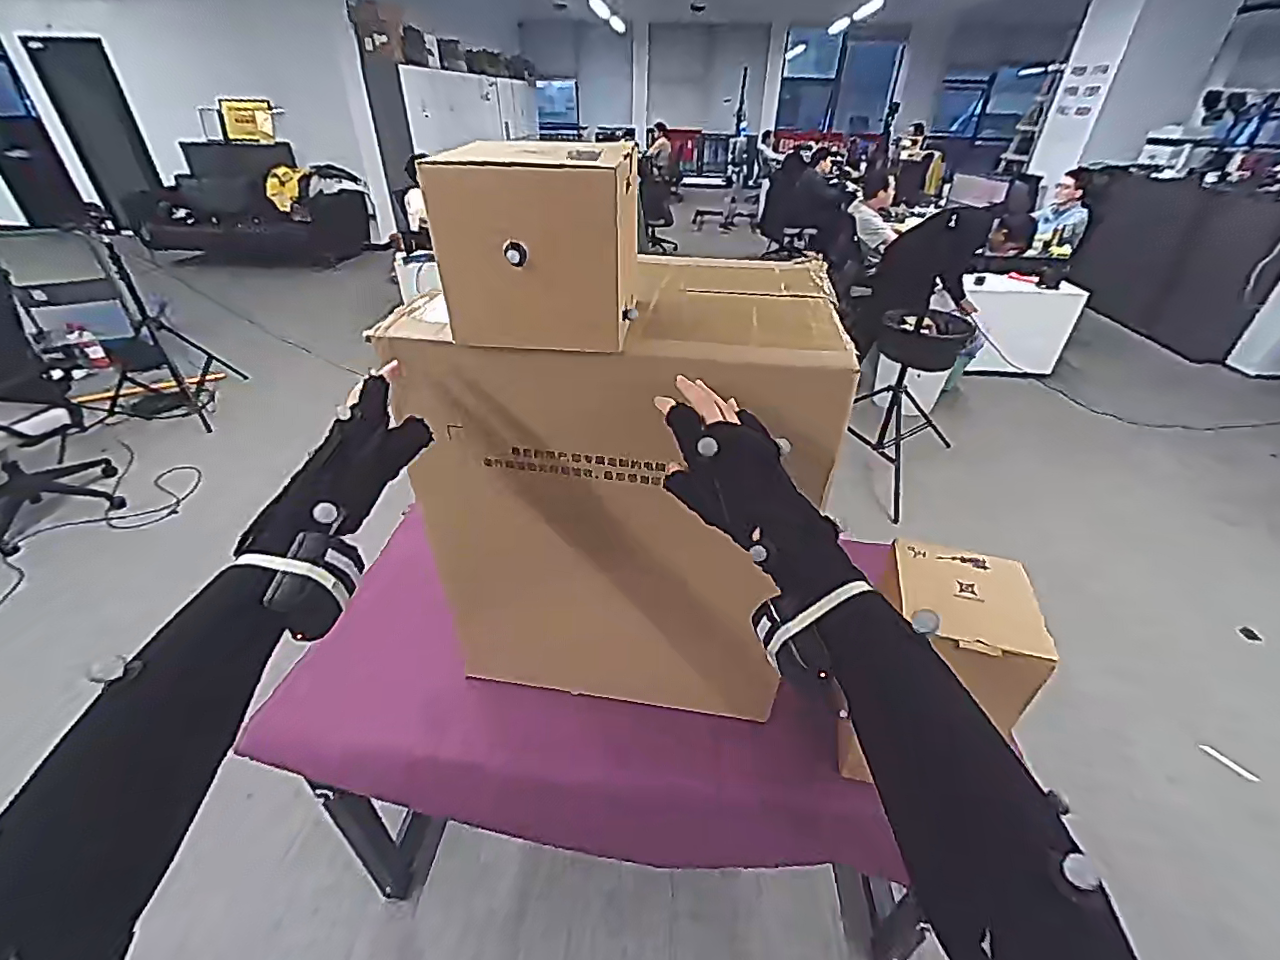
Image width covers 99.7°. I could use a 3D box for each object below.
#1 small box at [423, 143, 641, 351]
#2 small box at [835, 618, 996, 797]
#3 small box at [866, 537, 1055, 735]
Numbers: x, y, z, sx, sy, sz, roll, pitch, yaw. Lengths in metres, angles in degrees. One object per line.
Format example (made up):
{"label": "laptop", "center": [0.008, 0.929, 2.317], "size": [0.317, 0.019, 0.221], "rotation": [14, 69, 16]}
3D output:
{"label": "small box", "center": [-0.094, -0.245, 0.569], "size": [0.179, 0.176, 0.168], "rotation": [3, 36, 5]}
{"label": "small box", "center": [0.403, 0.346, 0.826], "size": [0.168, 0.176, 0.179], "rotation": [9, 34, 10]}
{"label": "small box", "center": [0.414, 0.209, 0.735], "size": [0.168, 0.176, 0.179], "rotation": [11, 36, 14]}
